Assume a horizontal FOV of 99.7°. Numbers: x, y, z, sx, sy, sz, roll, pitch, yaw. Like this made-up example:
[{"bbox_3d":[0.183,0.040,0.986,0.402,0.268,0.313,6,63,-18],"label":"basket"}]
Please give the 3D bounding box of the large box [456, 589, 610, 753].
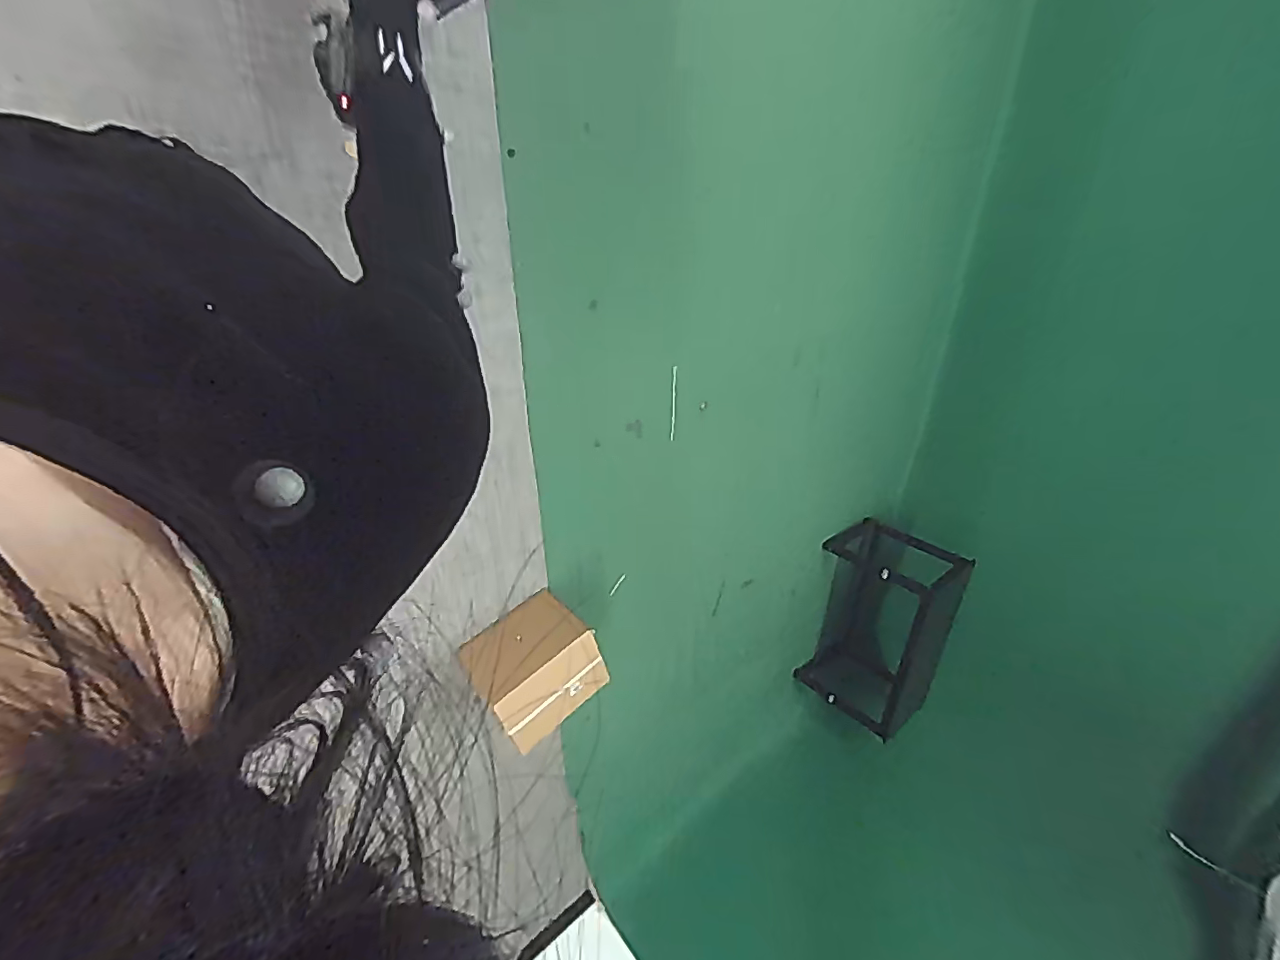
[{"bbox_3d":[-0.385,0.685,1.983,0.408,0.320,0.320,-35,131,-27],"label":"large box"}]
